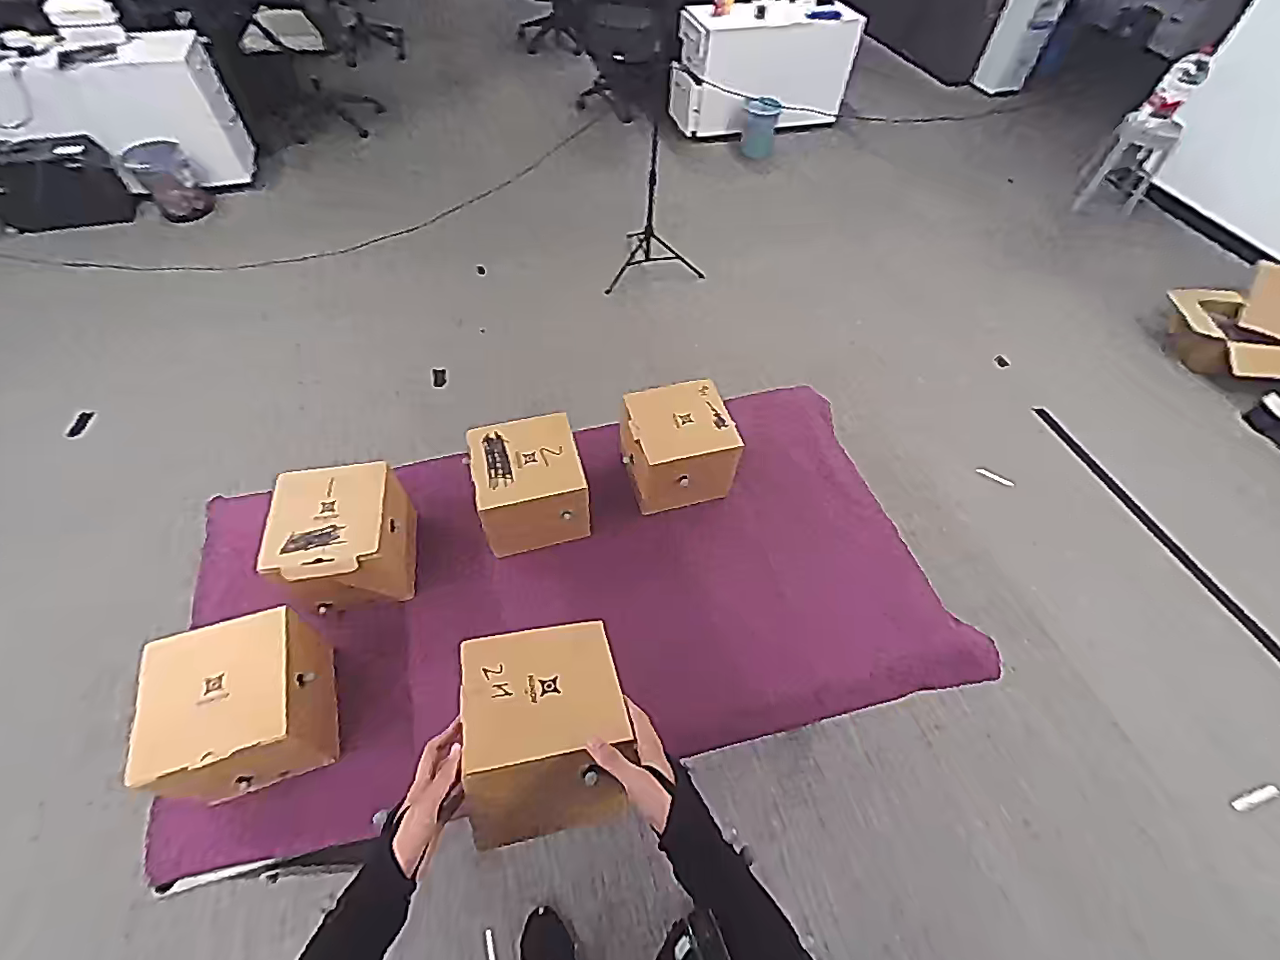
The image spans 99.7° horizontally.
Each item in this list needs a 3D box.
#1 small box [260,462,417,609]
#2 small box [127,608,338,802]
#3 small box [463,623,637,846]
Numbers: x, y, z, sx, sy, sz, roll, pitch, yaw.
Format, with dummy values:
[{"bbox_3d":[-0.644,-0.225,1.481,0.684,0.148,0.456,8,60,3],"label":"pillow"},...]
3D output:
[{"bbox_3d":[-0.471,0.097,0.877,0.168,0.176,0.179,-7,56,-9],"label":"small box"},{"bbox_3d":[-0.526,0.304,0.726,0.168,0.176,0.179,-15,58,-15],"label":"small box"},{"bbox_3d":[-0.113,0.298,0.645,0.179,0.176,0.168,-5,36,-15],"label":"small box"}]
